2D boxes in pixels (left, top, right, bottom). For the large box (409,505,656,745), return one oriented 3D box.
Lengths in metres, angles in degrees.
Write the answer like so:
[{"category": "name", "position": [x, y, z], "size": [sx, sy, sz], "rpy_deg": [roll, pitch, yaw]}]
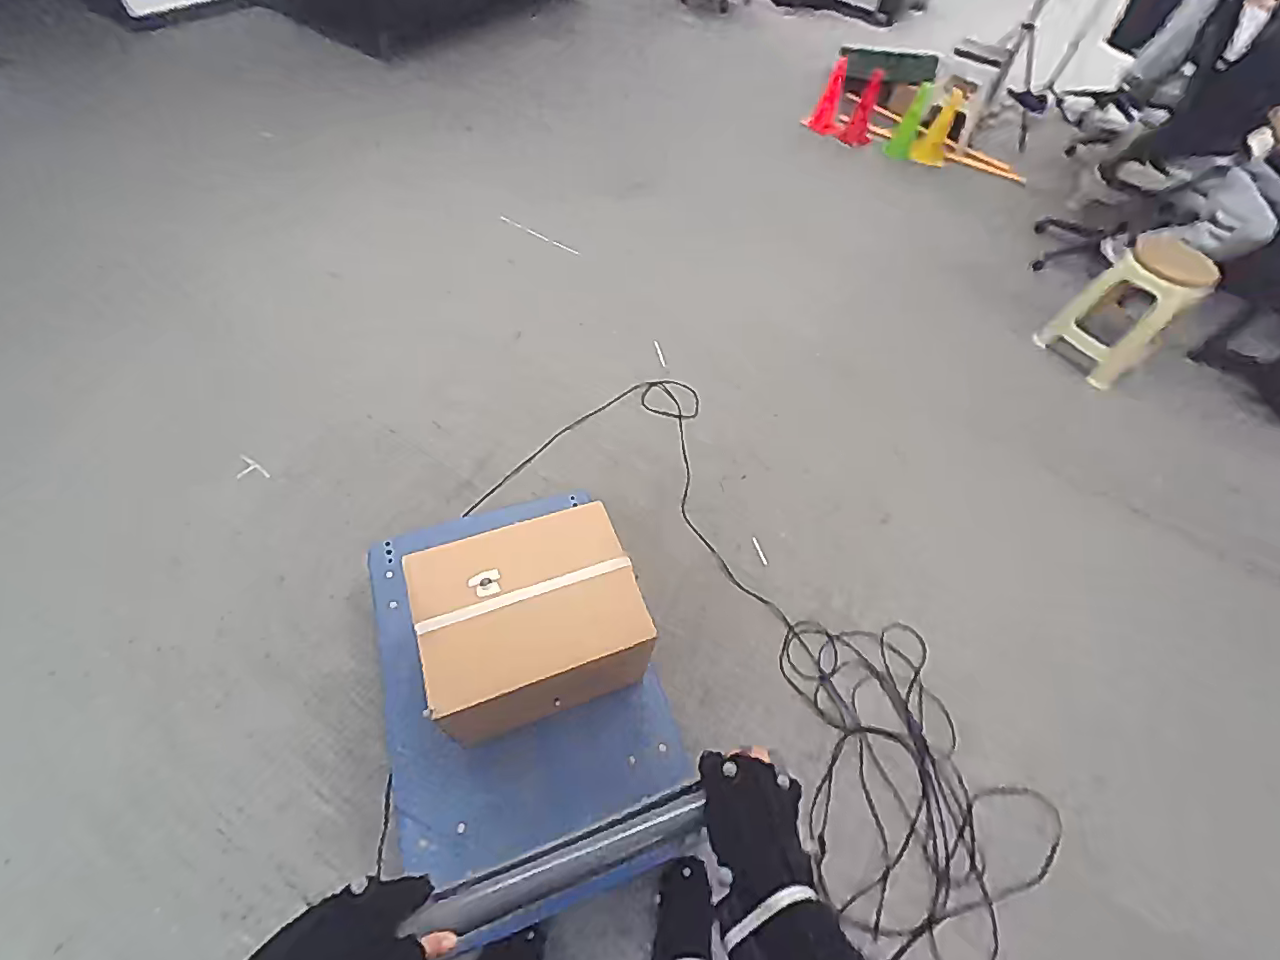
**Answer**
[{"category": "large box", "position": [-0.218, 0.308, 1.144], "size": [0.408, 0.320, 0.320], "rpy_deg": [-16, 58, -15]}]
